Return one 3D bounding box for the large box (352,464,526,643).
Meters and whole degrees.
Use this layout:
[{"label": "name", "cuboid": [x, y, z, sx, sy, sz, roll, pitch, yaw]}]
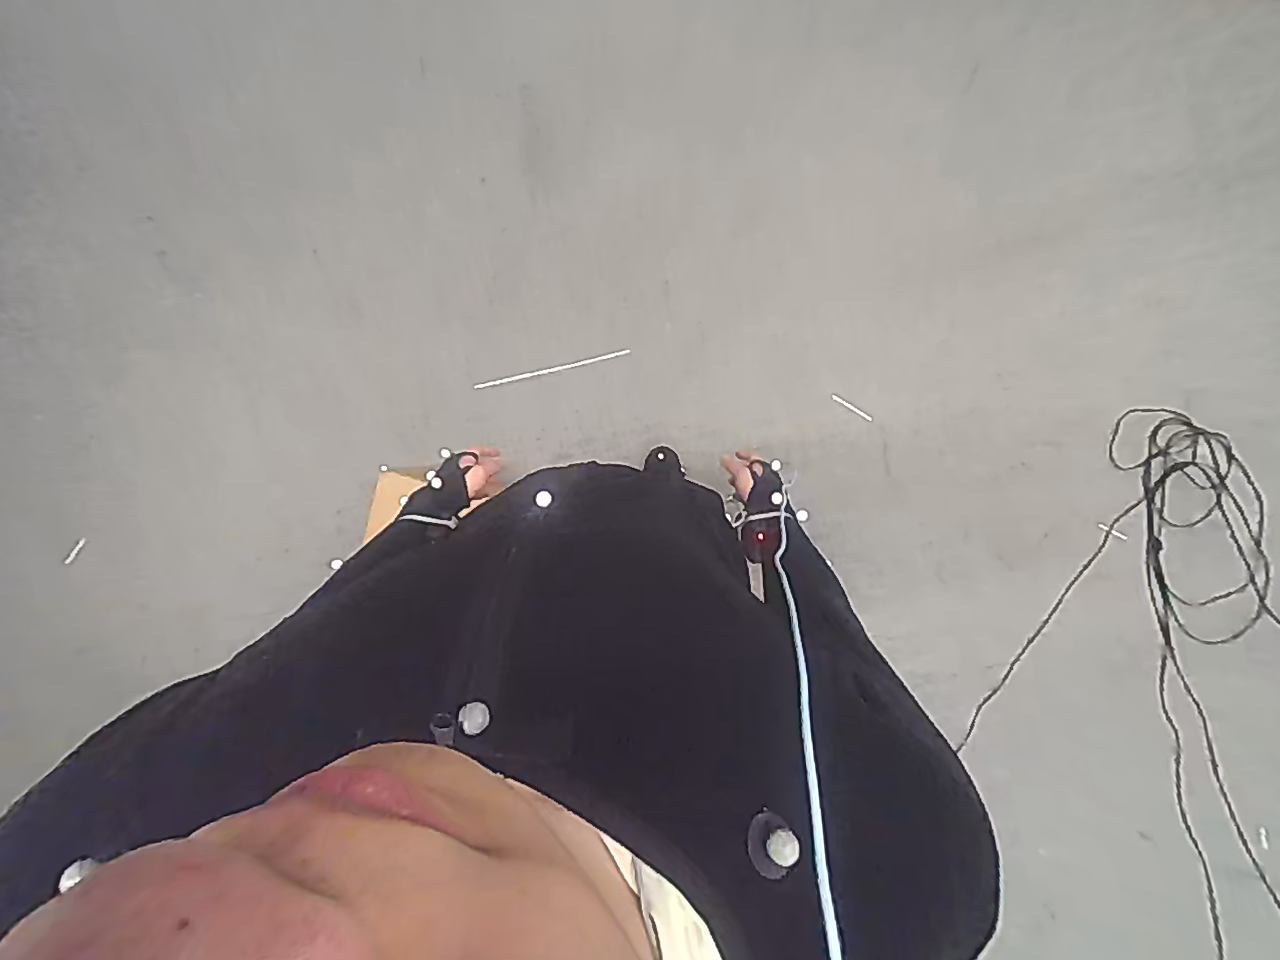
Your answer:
[{"label": "large box", "cuboid": [-0.543, 0.185, 1.519, 0.320, 0.320, 0.408, 15, 92, -1]}]
